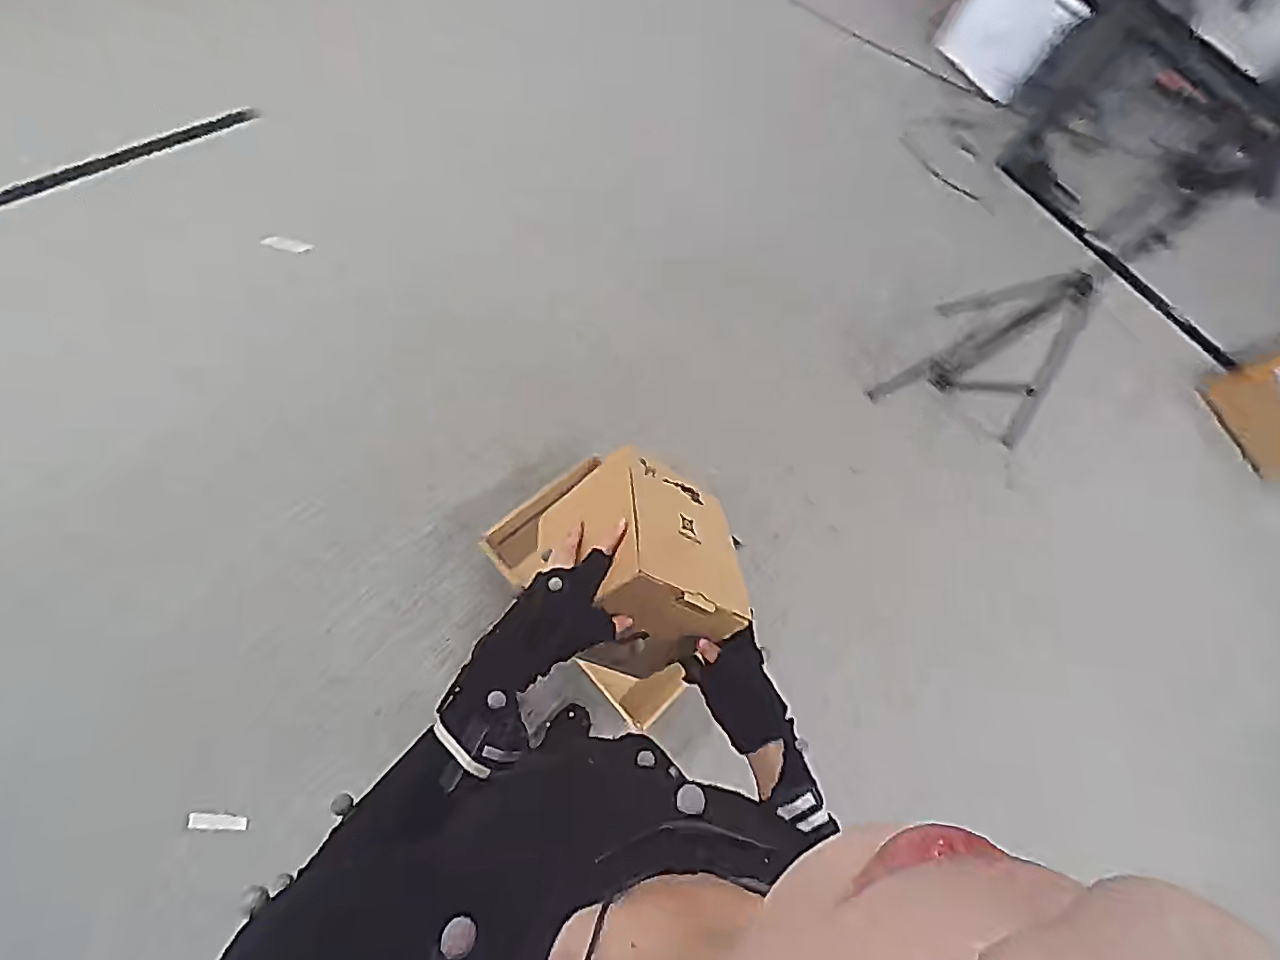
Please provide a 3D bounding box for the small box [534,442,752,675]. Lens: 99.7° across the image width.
[{"bbox_3d":[-0.006,0.097,0.612,0.168,0.176,0.179,31,35,-33],"label":"small box"}]
